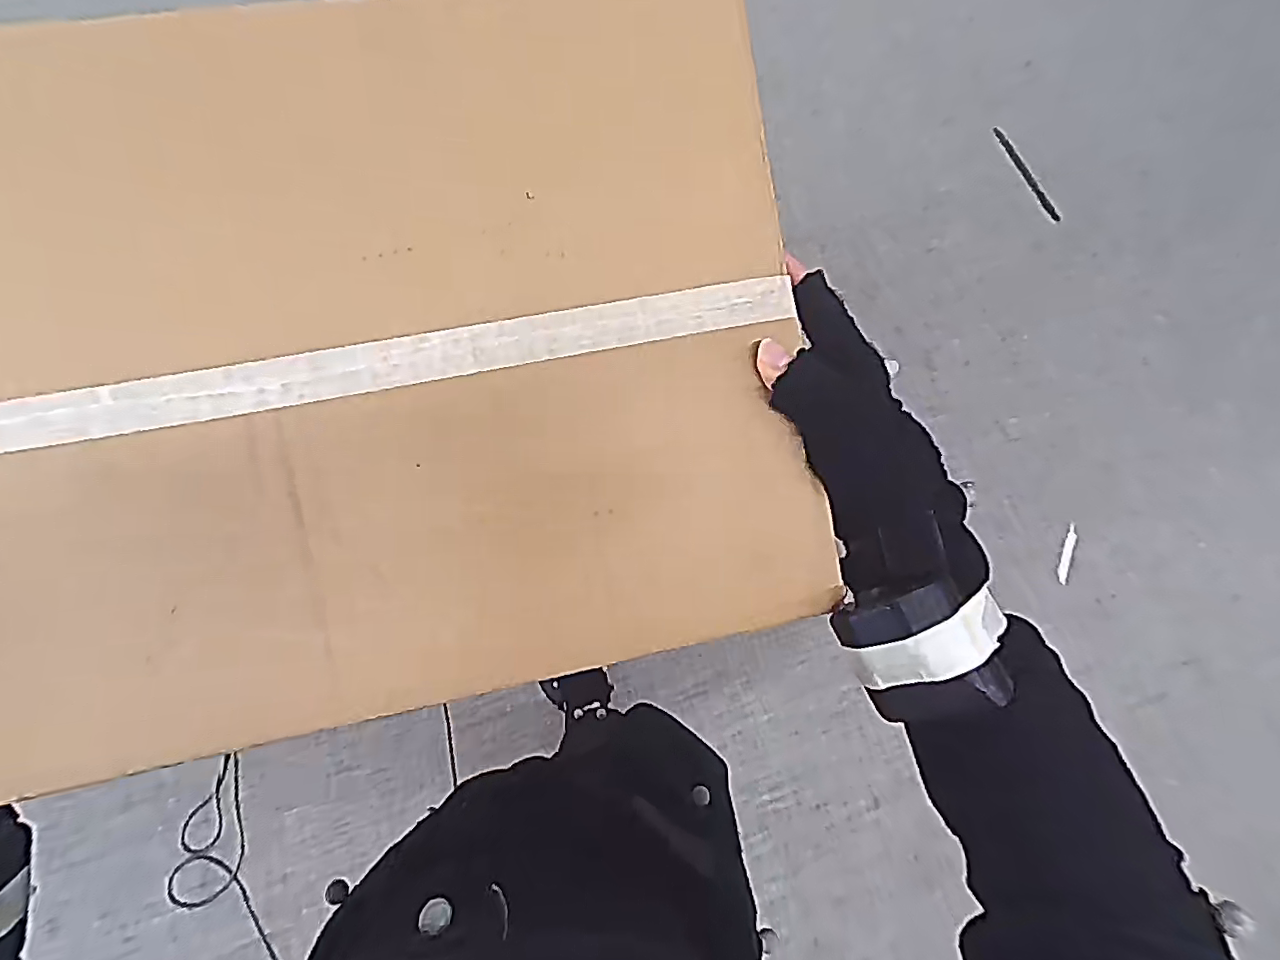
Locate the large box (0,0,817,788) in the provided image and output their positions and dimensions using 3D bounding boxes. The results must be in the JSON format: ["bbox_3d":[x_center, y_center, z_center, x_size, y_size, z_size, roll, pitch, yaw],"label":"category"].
[{"bbox_3d":[-0.142,-0.056,0.400,0.408,0.320,0.320,-10,93,-7],"label":"large box"}]
